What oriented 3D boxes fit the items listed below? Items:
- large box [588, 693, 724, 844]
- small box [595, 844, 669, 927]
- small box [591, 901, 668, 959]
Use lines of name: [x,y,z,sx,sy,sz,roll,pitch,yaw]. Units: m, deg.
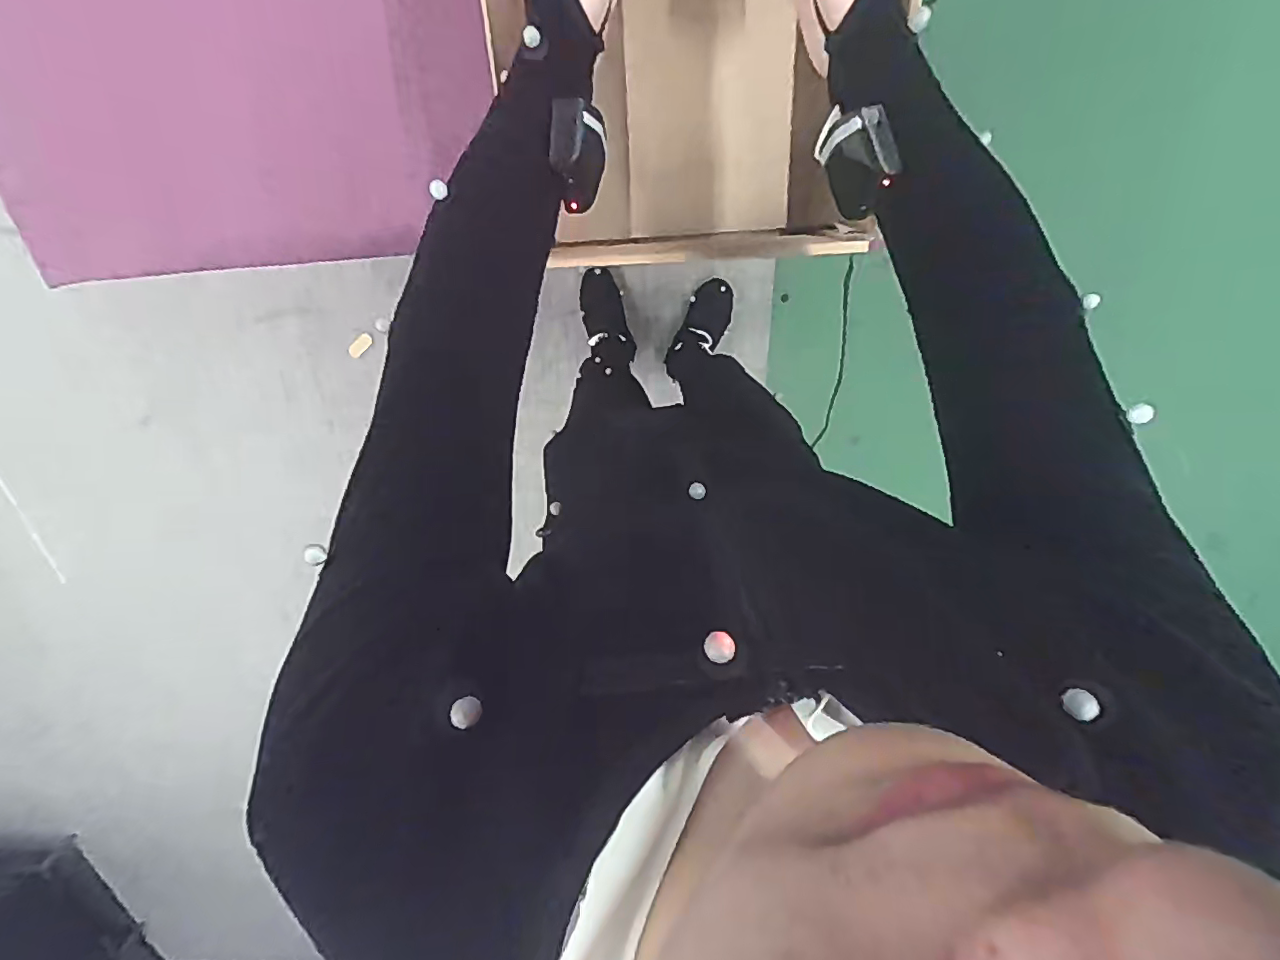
large box: [0.059,1.105,2.080,0.408,0.320,0.320,-33,112,15]
small box: [-0.020,1.307,1.725,0.179,0.176,0.168,-28,112,14]
small box: [-0.028,1.375,1.576,0.179,0.176,0.168,-27,112,15]
